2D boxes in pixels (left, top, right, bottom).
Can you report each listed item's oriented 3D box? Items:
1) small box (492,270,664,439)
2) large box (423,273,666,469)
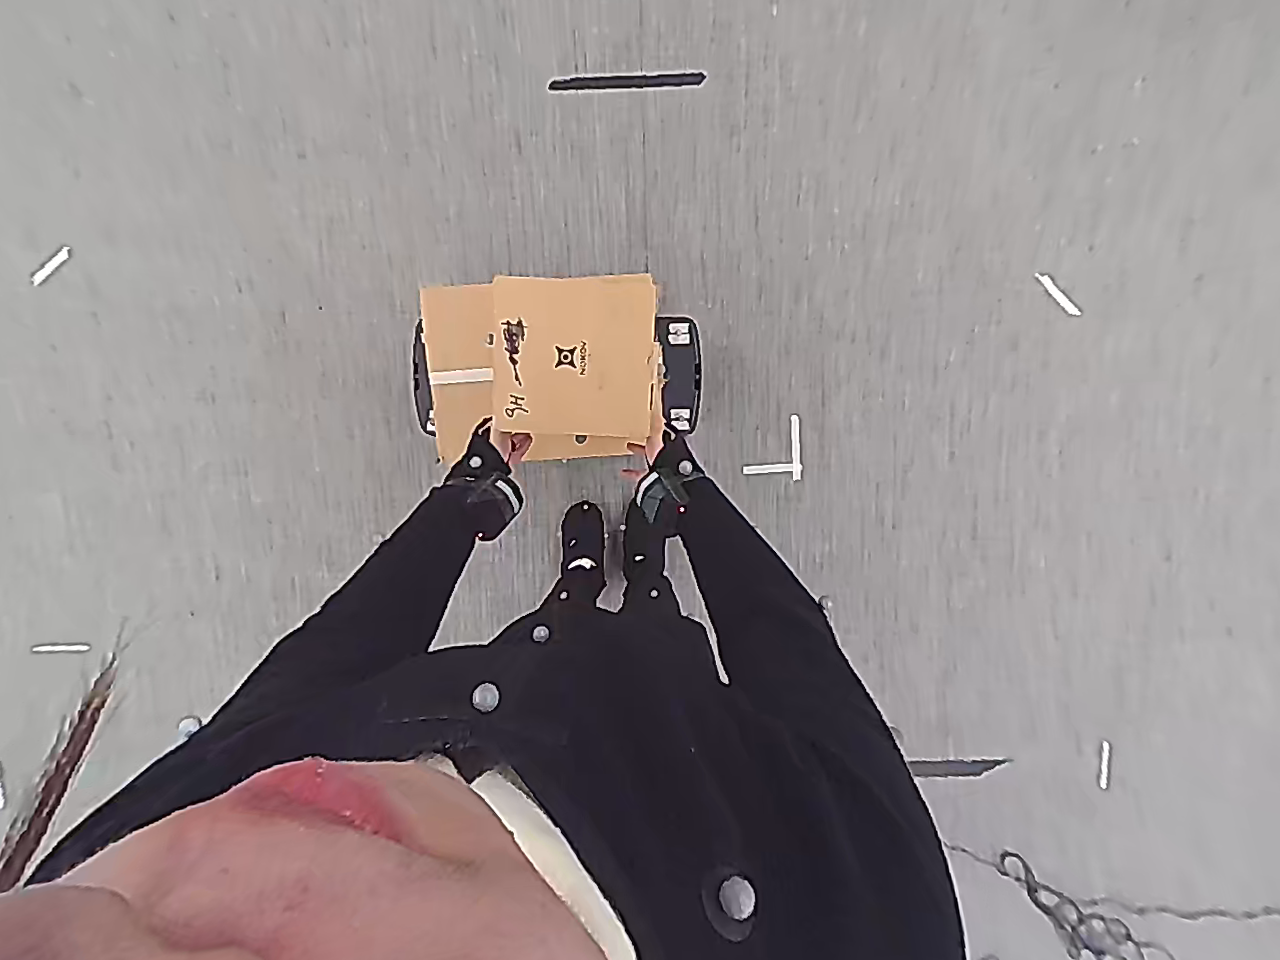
[{"bbox_3d":[-0.069,-0.141,0.646,0.179,0.176,0.168,3,98,-2],"label":"small box"},{"bbox_3d":[-0.163,-0.203,1.088,0.408,0.320,0.320,-4,95,1],"label":"large box"}]
